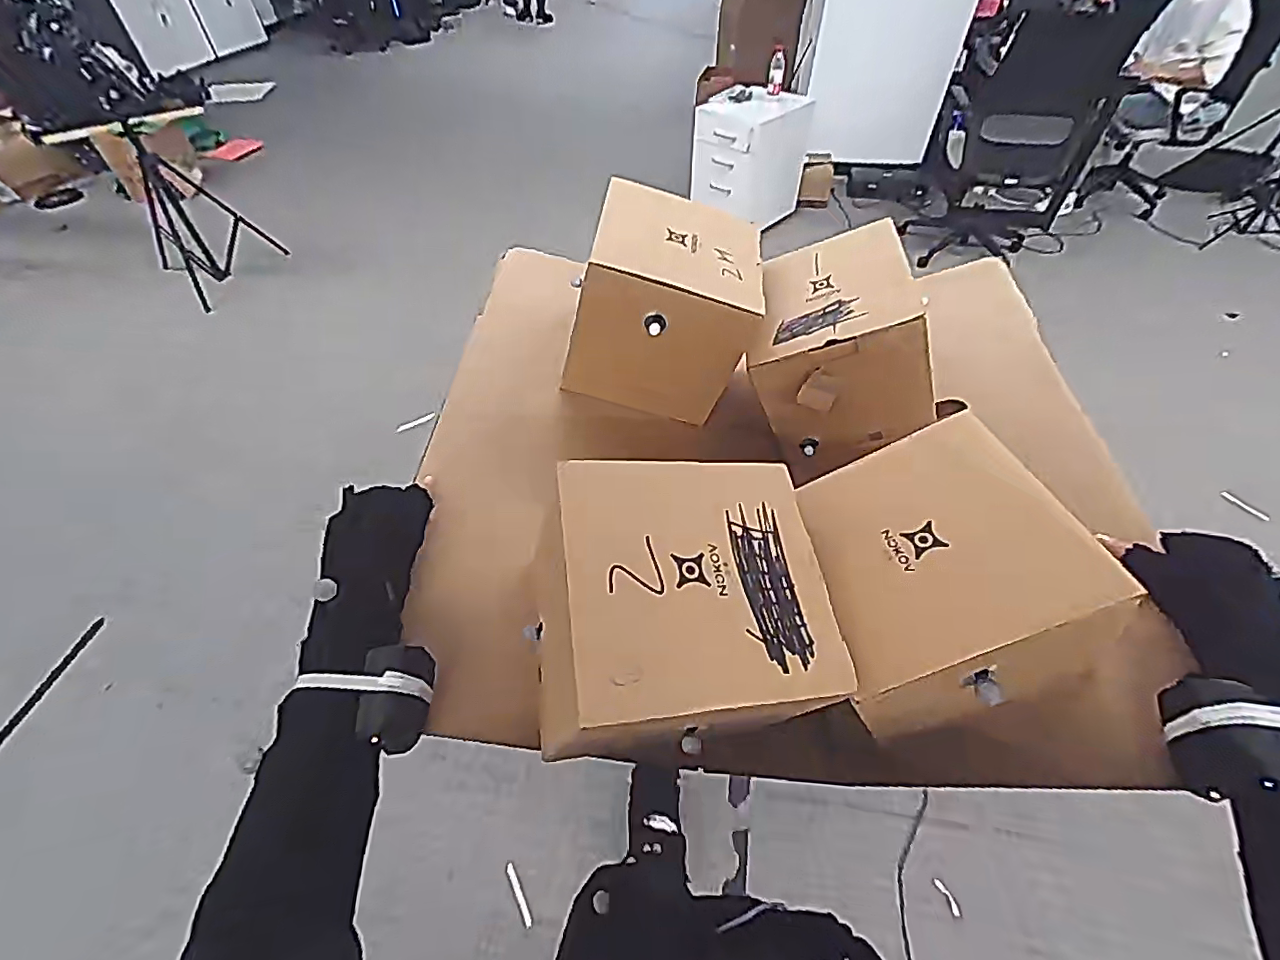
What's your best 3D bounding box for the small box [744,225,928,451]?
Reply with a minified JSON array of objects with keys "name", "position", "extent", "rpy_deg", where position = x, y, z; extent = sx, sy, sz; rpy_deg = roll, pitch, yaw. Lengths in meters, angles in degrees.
[{"name":"small box","position":[0.226,-0.151,0.630],"extent":[0.168,0.176,0.179],"rpy_deg":[-11,49,24]}]
